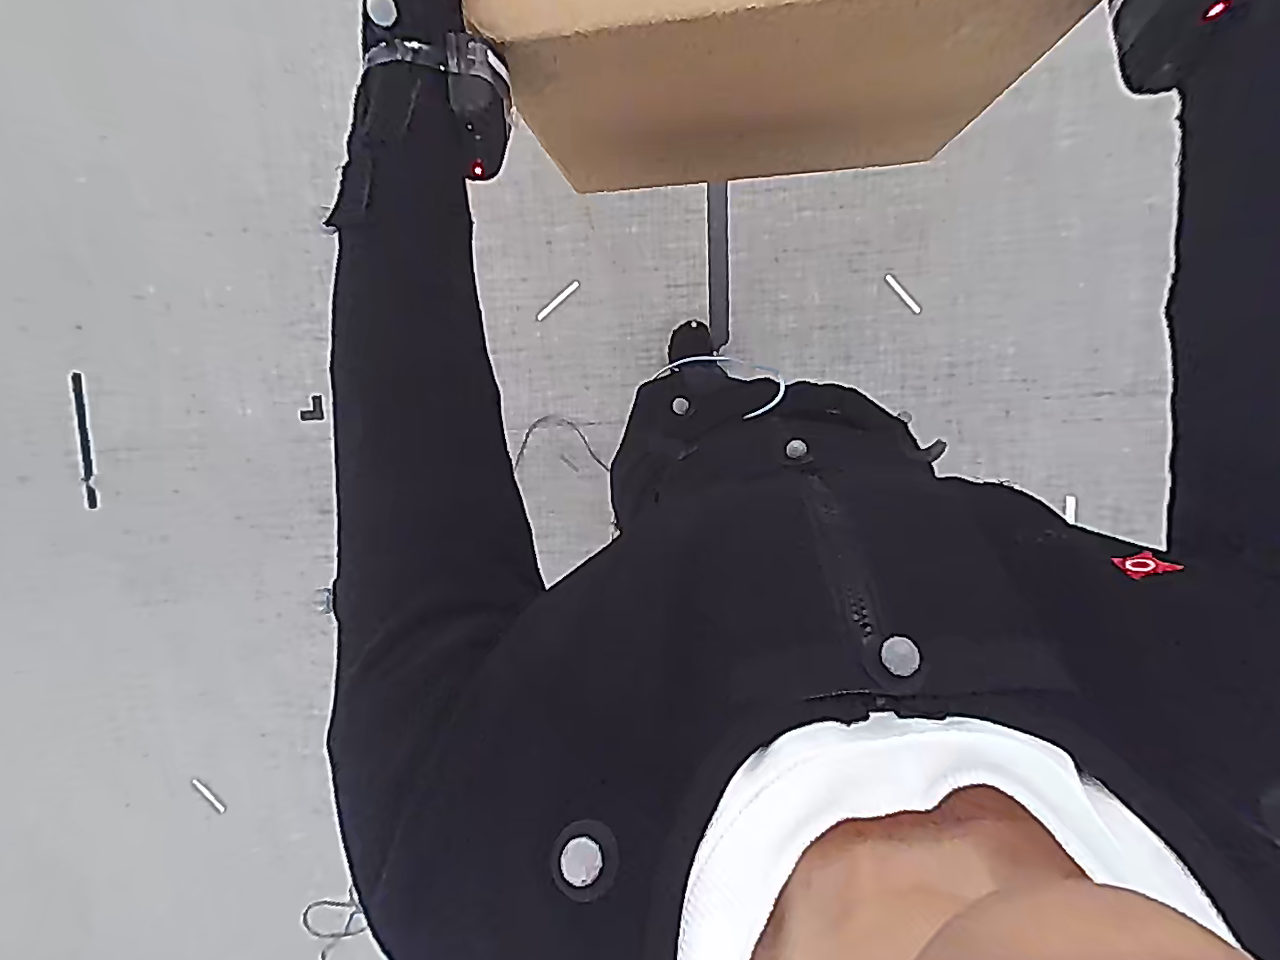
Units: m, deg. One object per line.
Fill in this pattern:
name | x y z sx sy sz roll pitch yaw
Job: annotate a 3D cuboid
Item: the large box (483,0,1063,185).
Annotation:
large box | 0.095 -0.481 0.452 0.408 0.320 0.320 -3 102 6
